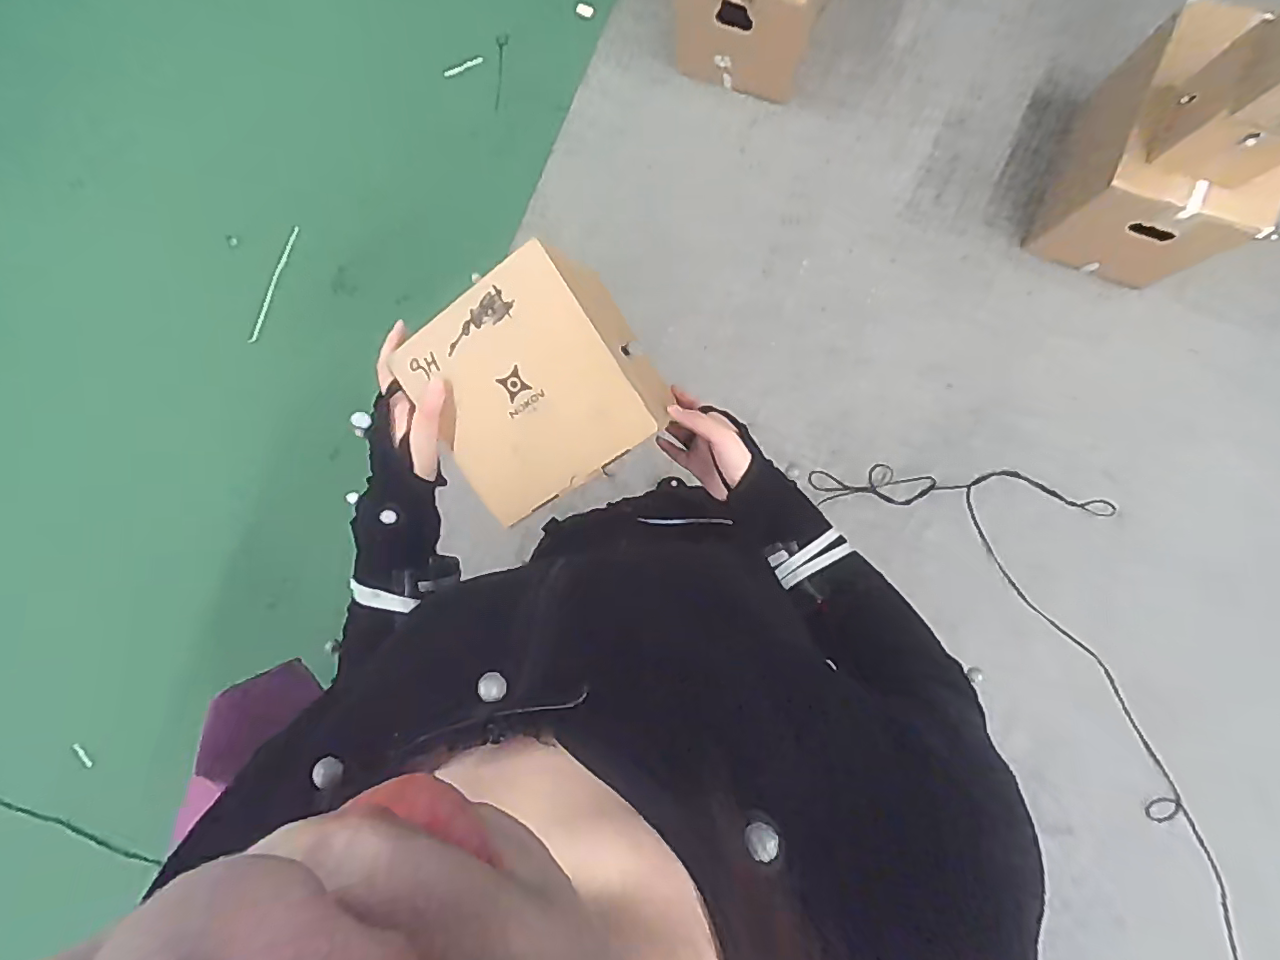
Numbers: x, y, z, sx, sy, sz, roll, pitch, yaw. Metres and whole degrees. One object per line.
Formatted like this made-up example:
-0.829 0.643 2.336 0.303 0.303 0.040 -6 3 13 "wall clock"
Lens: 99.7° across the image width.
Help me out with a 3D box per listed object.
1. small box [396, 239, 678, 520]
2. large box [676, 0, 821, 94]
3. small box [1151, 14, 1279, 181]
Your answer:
-0.077 -0.095 0.512 0.168 0.176 0.179 -31 99 16 "small box"
0.297 -1.259 1.302 0.320 0.320 0.408 22 92 5 "large box"
1.109 -0.678 0.981 0.179 0.176 0.168 20 93 7 "small box"
